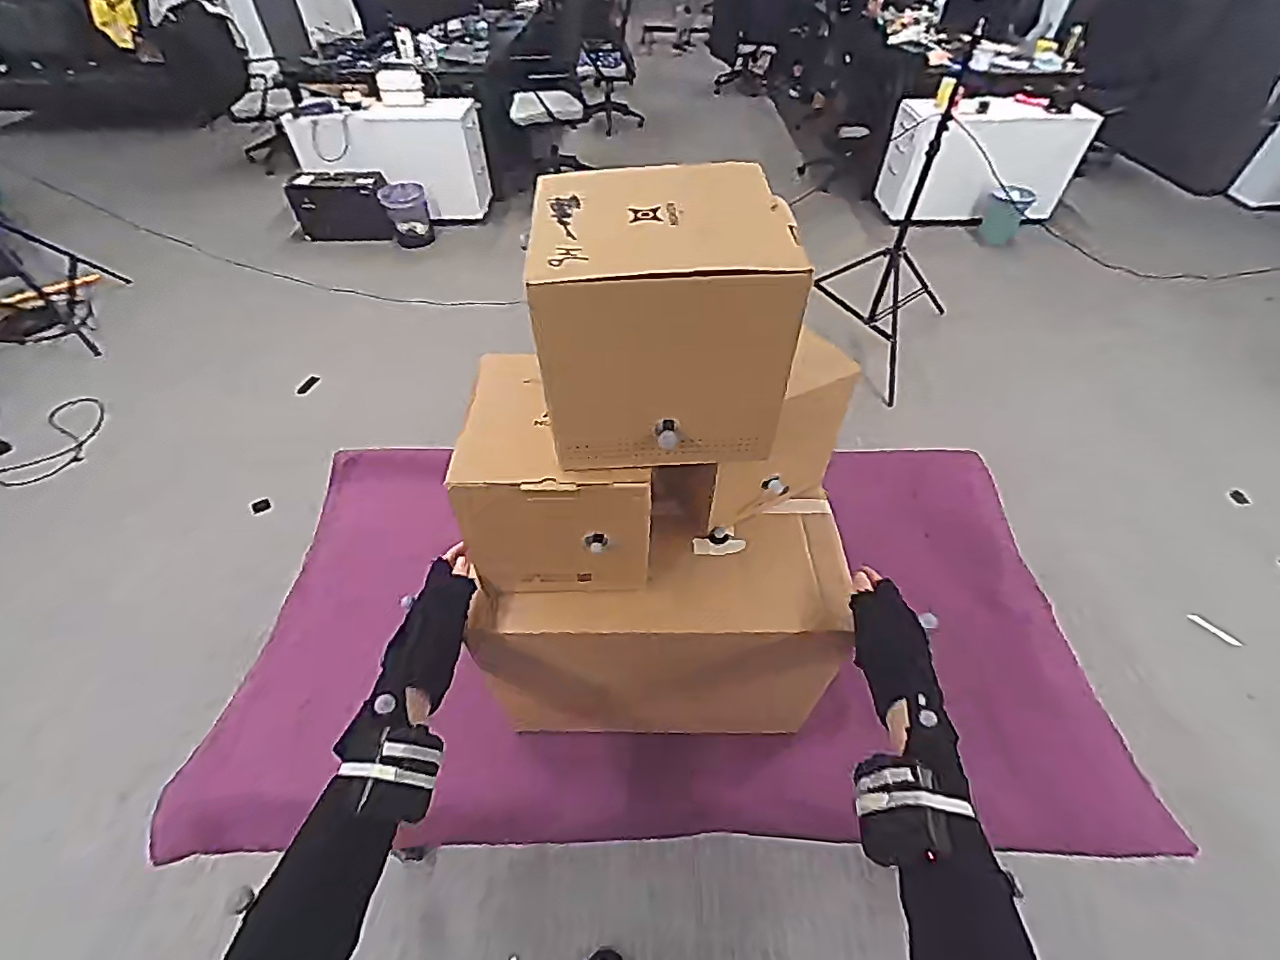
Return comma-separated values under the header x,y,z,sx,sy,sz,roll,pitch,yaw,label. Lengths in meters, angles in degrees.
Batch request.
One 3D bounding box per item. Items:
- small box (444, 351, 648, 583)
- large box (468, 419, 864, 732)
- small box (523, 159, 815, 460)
x,y,z,sx,sy,sz,roll,pitch,yaw,label
-0.077,-0.010,0.540,0.168,0.176,0.179,0,47,-3,small box
0.020,0.132,0.740,0.408,0.320,0.320,0,49,-1,large box
0.014,-0.131,0.428,0.179,0.176,0.168,-3,48,-2,small box
